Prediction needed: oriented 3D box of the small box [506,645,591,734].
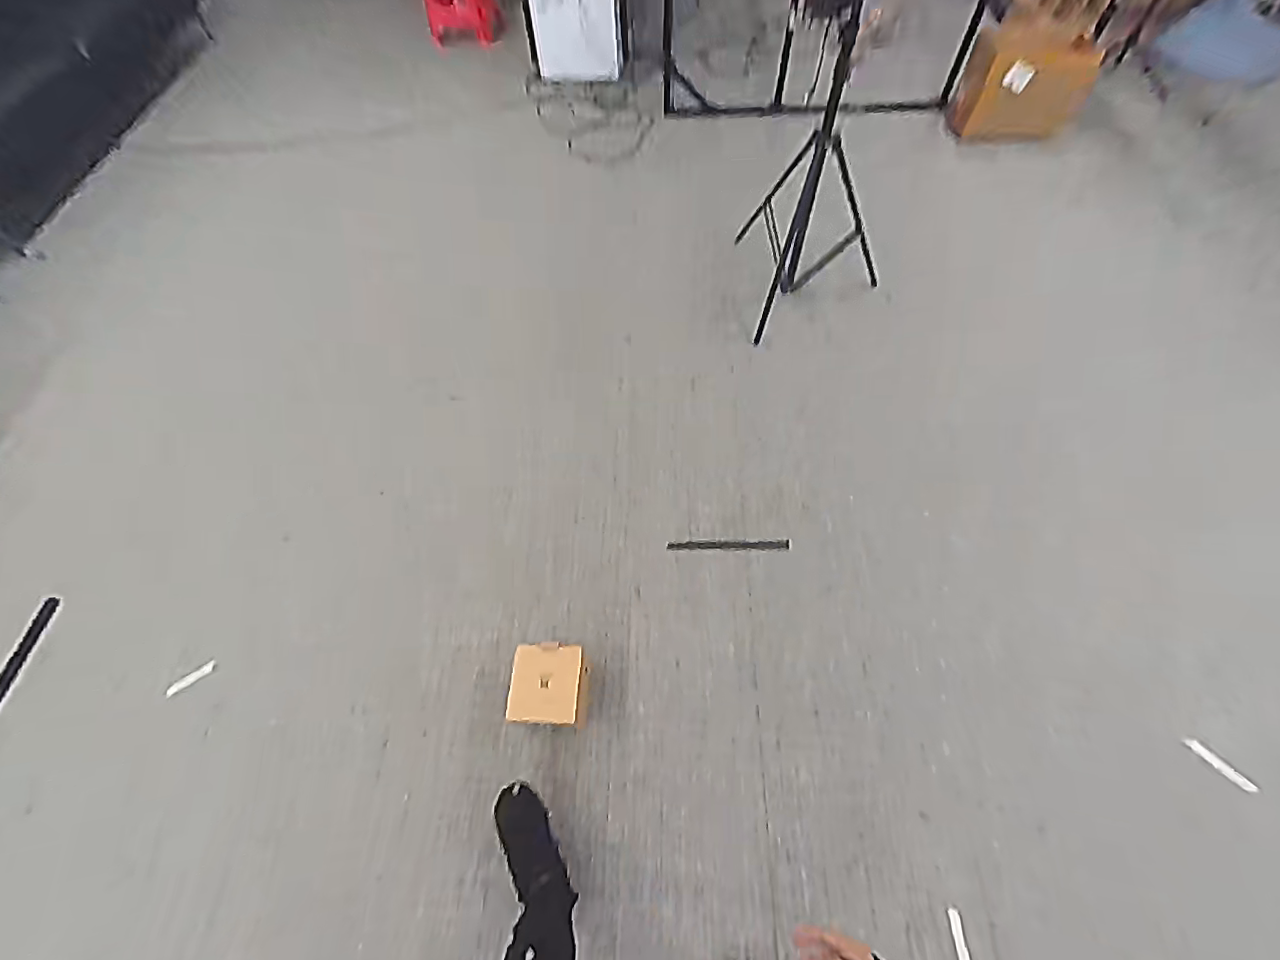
[{"bbox_3d":[-0.216,0.519,1.336,0.168,0.176,0.179,1,59,5],"label":"small box"}]
